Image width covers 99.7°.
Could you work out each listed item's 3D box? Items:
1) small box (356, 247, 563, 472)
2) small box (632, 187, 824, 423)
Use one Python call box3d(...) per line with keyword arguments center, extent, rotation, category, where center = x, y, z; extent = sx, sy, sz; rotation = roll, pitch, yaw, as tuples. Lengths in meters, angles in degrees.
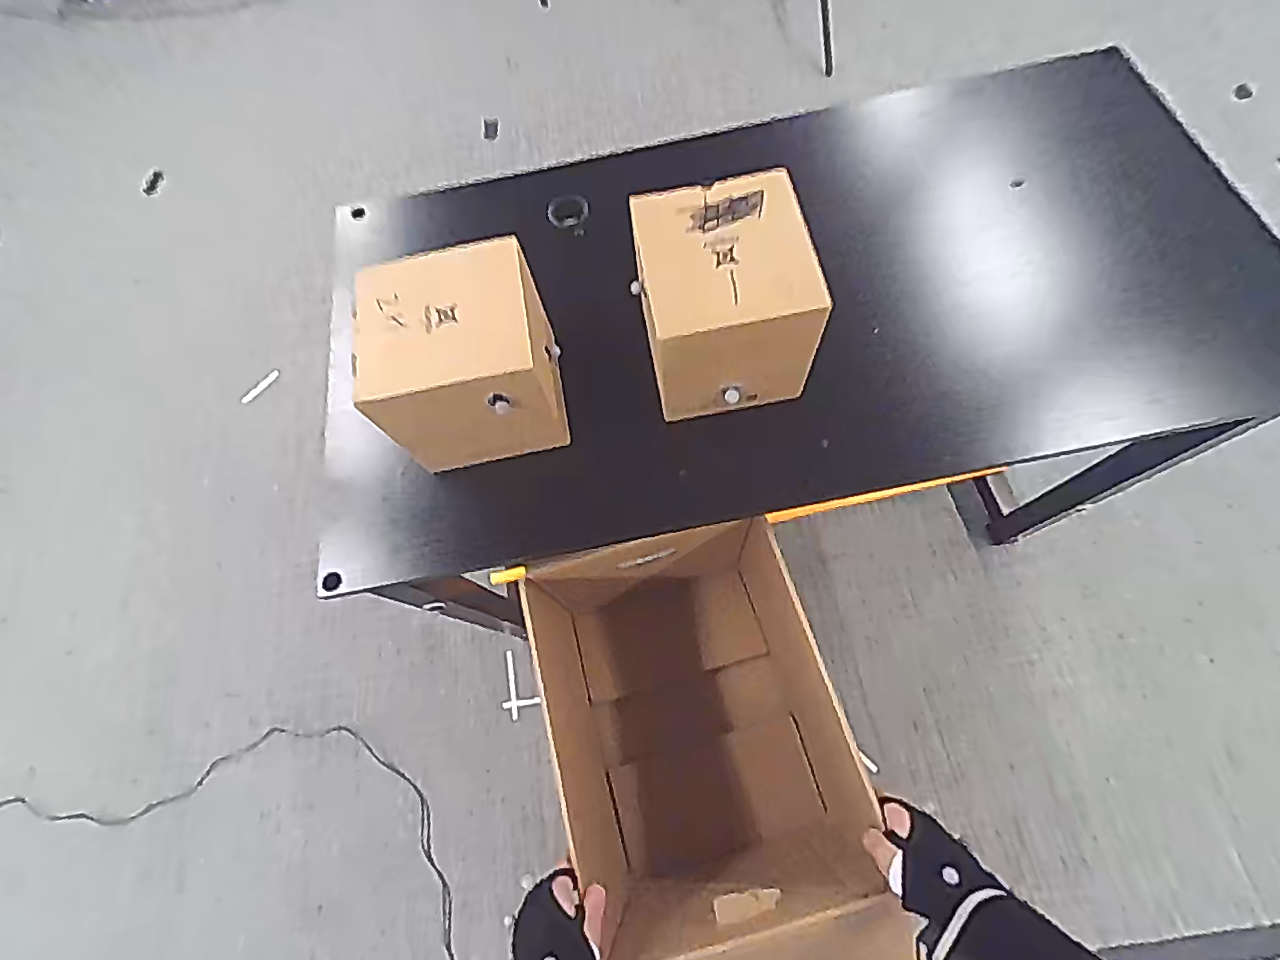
box3d(center=(-0.191, -0.126, 0.613), extent=(0.179, 0.176, 0.168), rotation=(-12, 67, 0), category="small box")
box3d(center=(0.088, -0.188, 0.613), extent=(0.168, 0.176, 0.179), rotation=(-10, 68, 2), category="small box")
